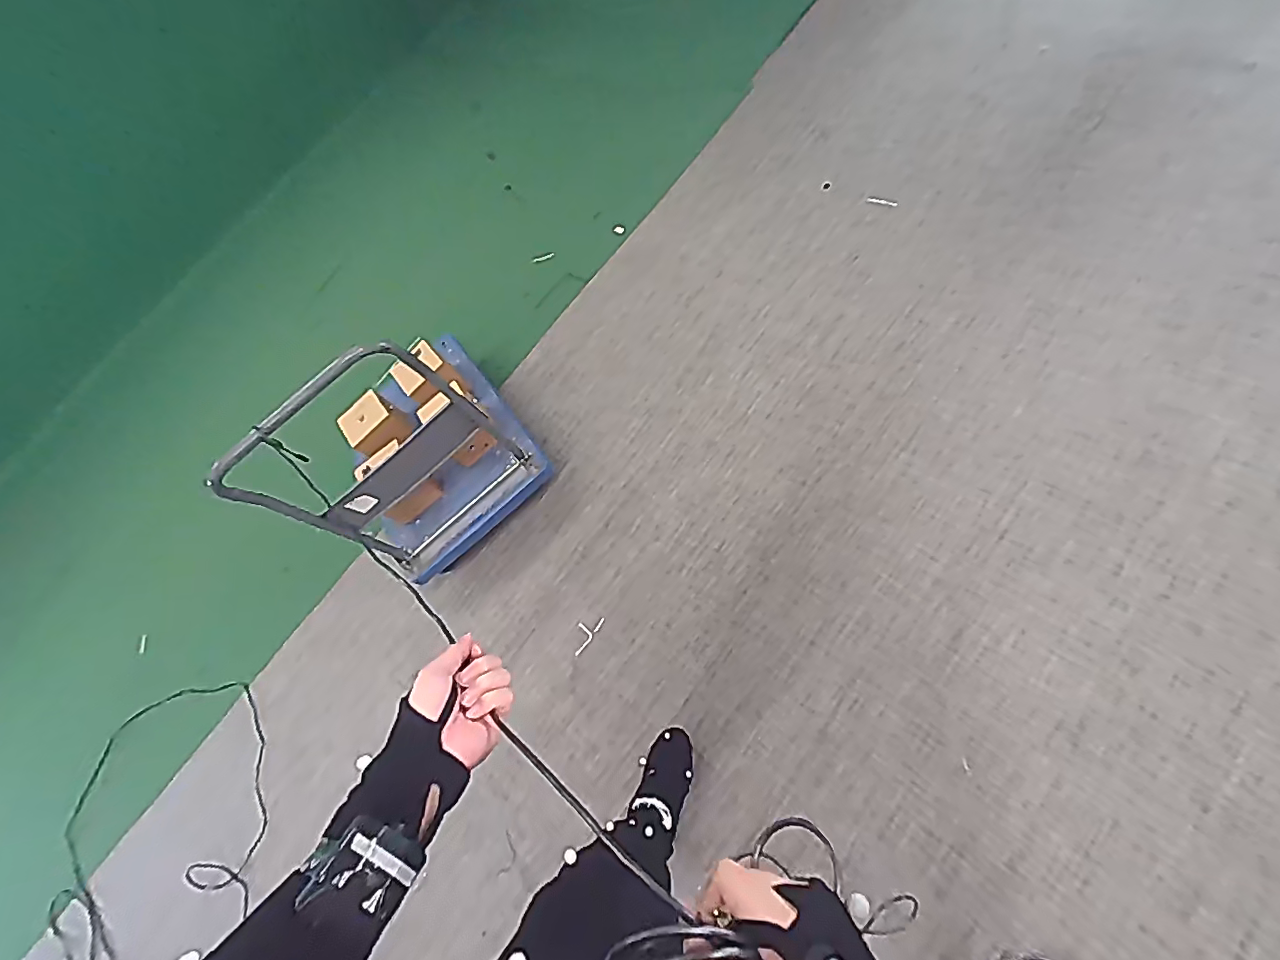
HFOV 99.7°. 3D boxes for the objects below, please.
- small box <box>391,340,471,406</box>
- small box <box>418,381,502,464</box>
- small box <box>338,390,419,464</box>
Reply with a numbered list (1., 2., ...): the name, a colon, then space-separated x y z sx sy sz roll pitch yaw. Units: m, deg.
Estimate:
1. small box: -0.740 -0.356 1.925 0.168 0.176 0.179 -44 58 -1
2. small box: -0.590 -0.183 1.780 0.168 0.176 0.179 -40 58 0
3. small box: -0.920 -0.180 1.916 0.168 0.176 0.179 -43 57 -3
